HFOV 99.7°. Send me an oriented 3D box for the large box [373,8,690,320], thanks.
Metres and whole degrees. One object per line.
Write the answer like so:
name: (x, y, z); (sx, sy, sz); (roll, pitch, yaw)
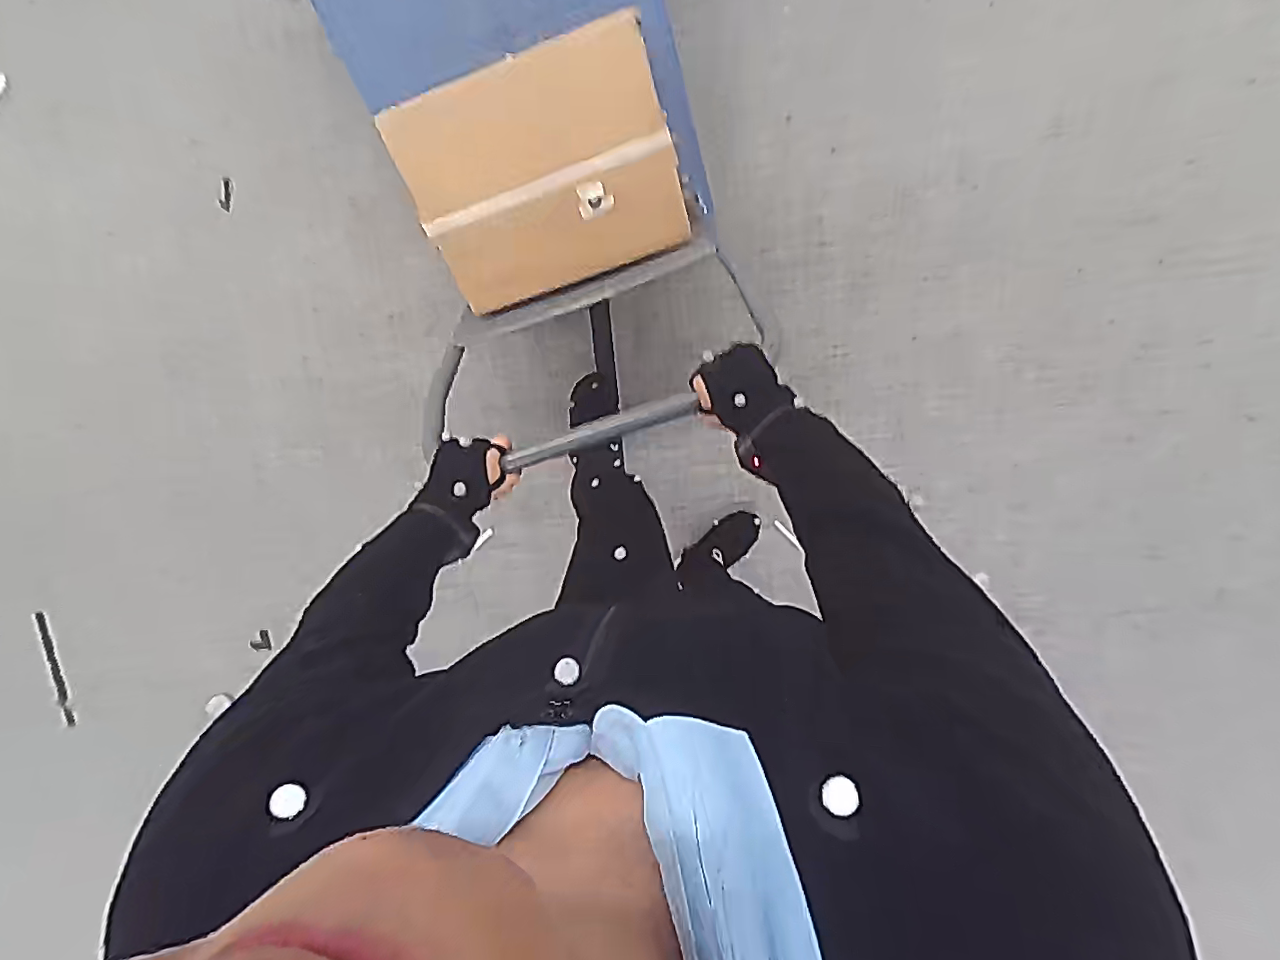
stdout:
large box: (-0.165, -0.539, 0.953); (0.408, 0.320, 0.320); (-18, 126, 7)
